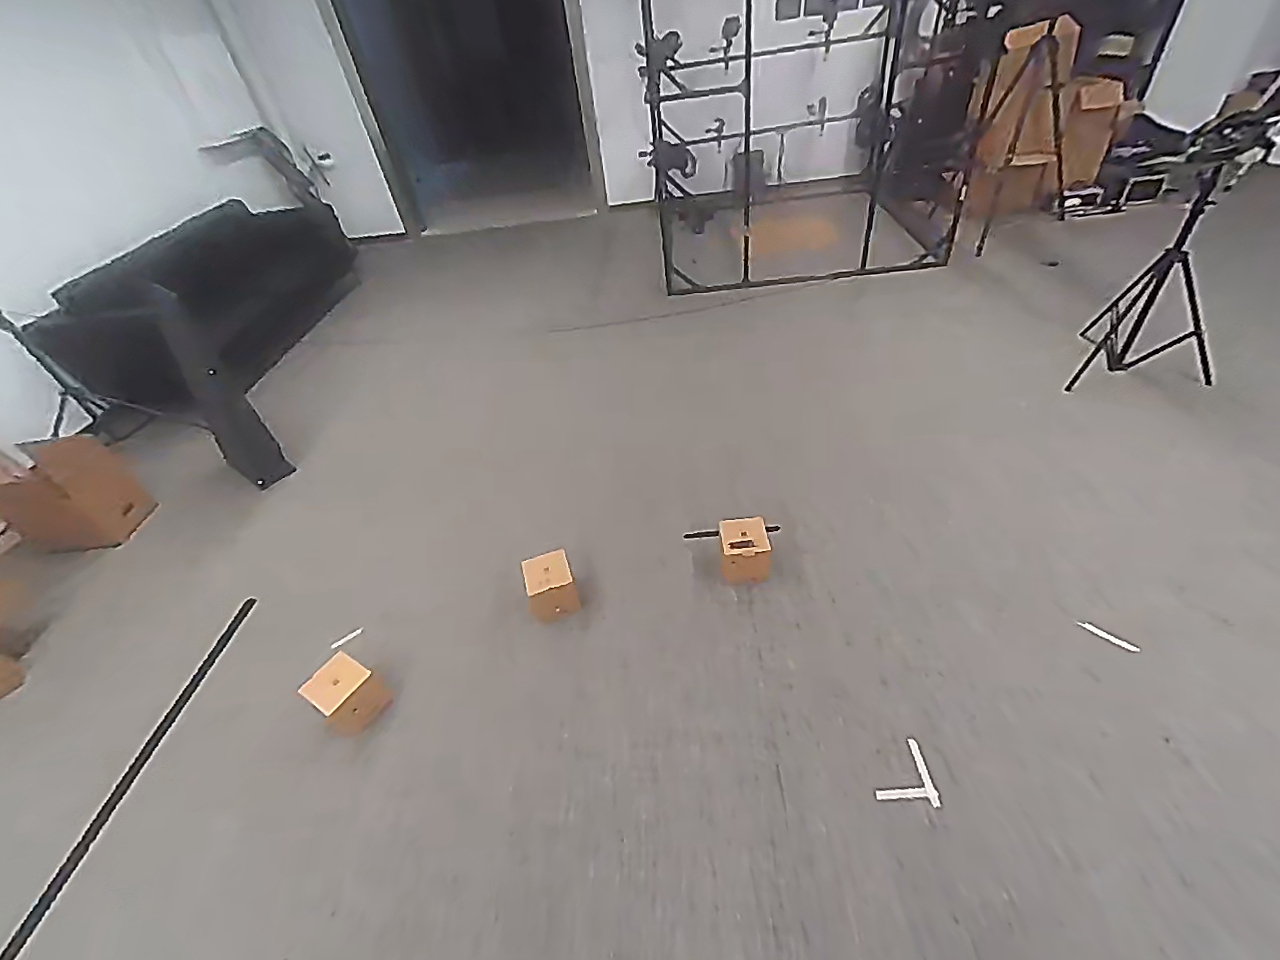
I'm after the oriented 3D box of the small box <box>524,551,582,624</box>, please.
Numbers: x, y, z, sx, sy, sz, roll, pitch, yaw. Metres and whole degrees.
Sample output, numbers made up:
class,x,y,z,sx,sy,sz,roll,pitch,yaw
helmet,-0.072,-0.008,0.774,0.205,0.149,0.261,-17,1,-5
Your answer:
class,x,y,z,sx,sy,sz,roll,pitch,yaw
small box,-0.324,0.401,2.017,0.168,0.176,0.179,-17,41,-8

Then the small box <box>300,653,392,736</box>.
class,x,y,z,sx,sy,sz,roll,pitch,yaw
small box,-0.956,0.708,1.775,0.179,0.176,0.168,18,48,28
